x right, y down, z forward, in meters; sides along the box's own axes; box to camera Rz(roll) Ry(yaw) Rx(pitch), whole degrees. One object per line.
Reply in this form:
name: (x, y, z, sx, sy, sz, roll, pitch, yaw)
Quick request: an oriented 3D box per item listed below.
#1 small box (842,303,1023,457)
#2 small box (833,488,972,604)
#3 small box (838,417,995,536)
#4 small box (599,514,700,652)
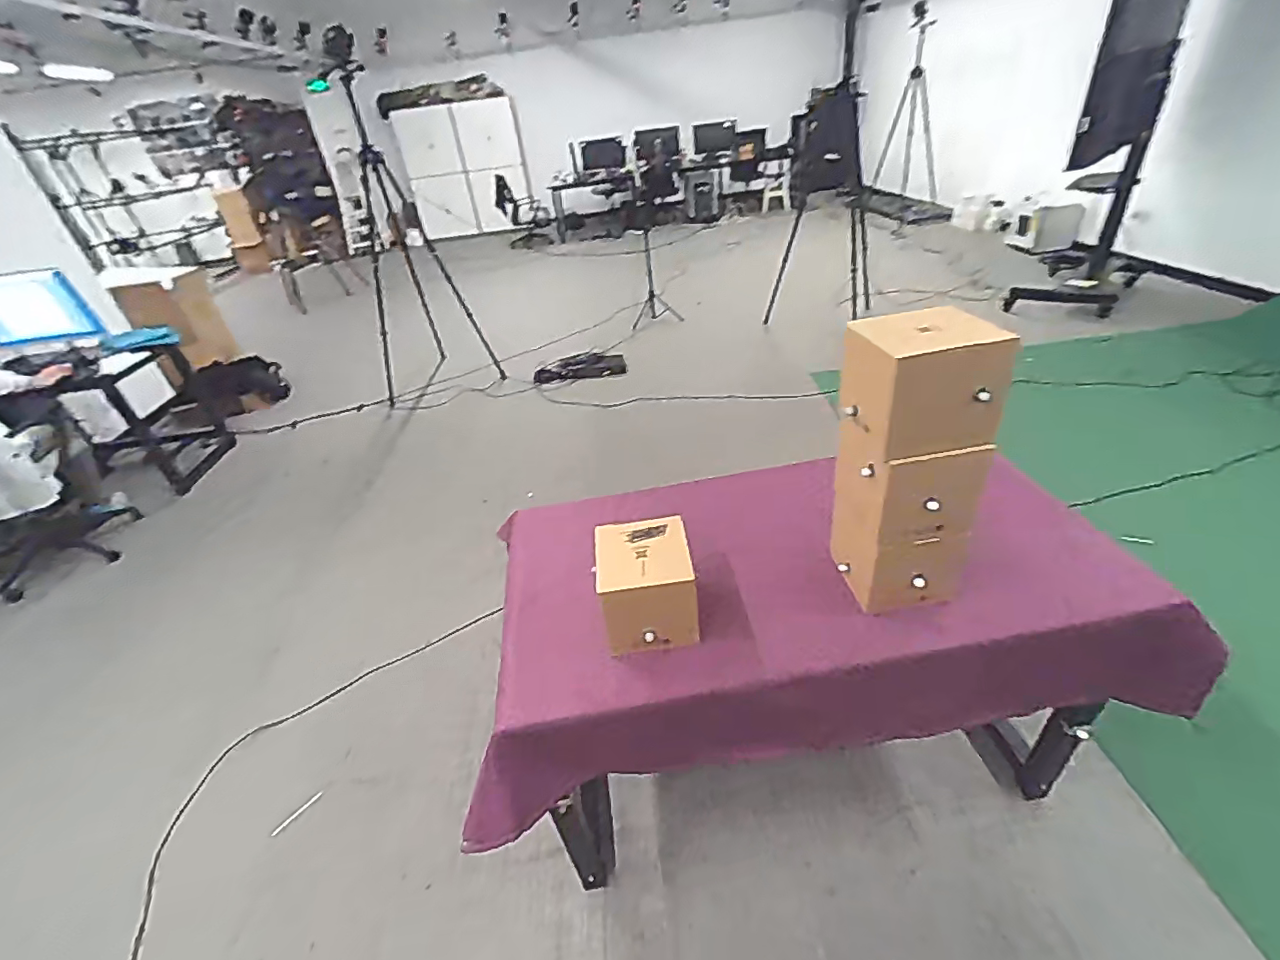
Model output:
small box: (0.430, -0.154, 0.830, 0.179, 0.176, 0.168, -10, 34, -1)
small box: (0.477, 0.115, 1.013, 0.168, 0.176, 0.179, -9, 35, -1)
small box: (0.454, -0.019, 0.919, 0.168, 0.176, 0.179, -9, 35, -2)
small box: (0.016, 0.189, 1.001, 0.168, 0.176, 0.179, -8, 36, 0)
